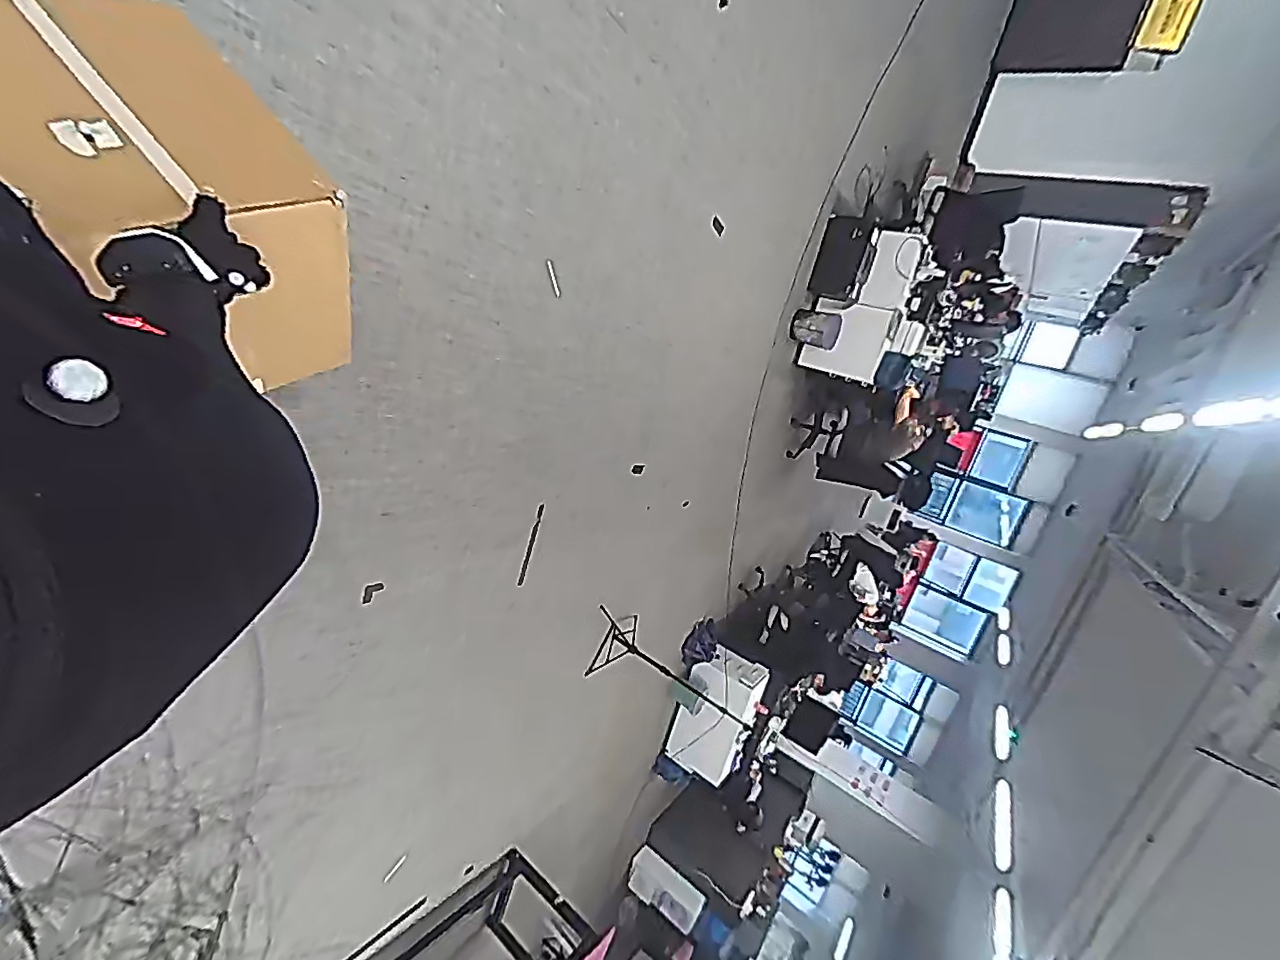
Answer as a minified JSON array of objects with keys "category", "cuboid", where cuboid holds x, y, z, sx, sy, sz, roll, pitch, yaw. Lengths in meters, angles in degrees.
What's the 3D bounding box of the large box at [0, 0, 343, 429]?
[{"category":"large box","cuboid":[-0.669,-0.351,0.730,0.320,0.408,0.320,-38,172,-37]}]
